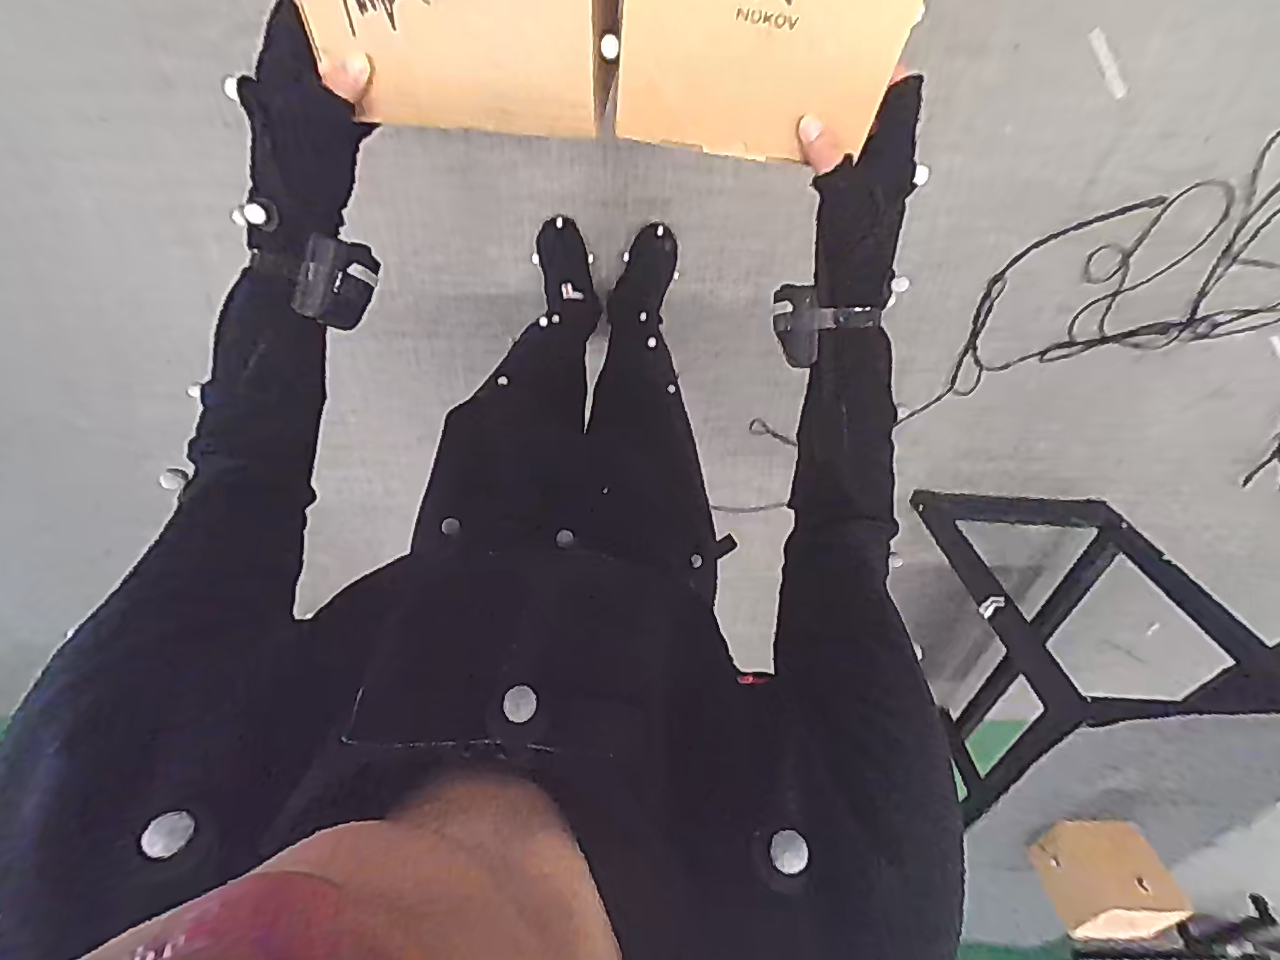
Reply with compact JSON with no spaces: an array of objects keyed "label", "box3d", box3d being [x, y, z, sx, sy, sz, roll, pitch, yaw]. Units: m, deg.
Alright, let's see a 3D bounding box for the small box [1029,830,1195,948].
[{"label":"small box","box3d":[1.011,0.889,1.179,0.179,0.176,0.168,3,125,-2]}]
